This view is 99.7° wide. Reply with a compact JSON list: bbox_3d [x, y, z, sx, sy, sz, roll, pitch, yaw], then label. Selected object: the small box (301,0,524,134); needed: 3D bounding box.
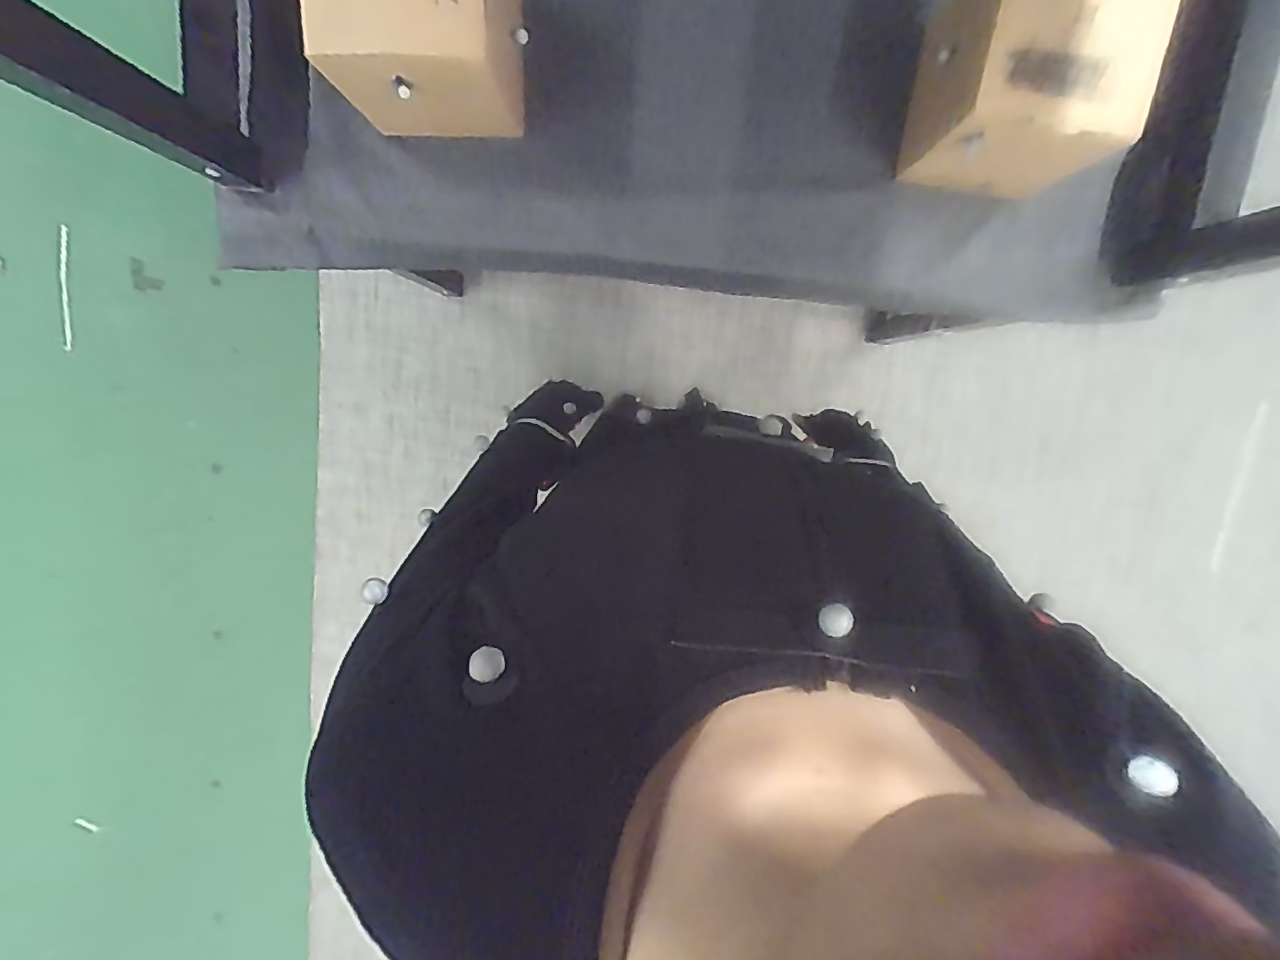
[{"bbox_3d":[-0.230,-0.496,0.578,0.179,0.176,0.168,1,101,-1],"label":"small box"}]
